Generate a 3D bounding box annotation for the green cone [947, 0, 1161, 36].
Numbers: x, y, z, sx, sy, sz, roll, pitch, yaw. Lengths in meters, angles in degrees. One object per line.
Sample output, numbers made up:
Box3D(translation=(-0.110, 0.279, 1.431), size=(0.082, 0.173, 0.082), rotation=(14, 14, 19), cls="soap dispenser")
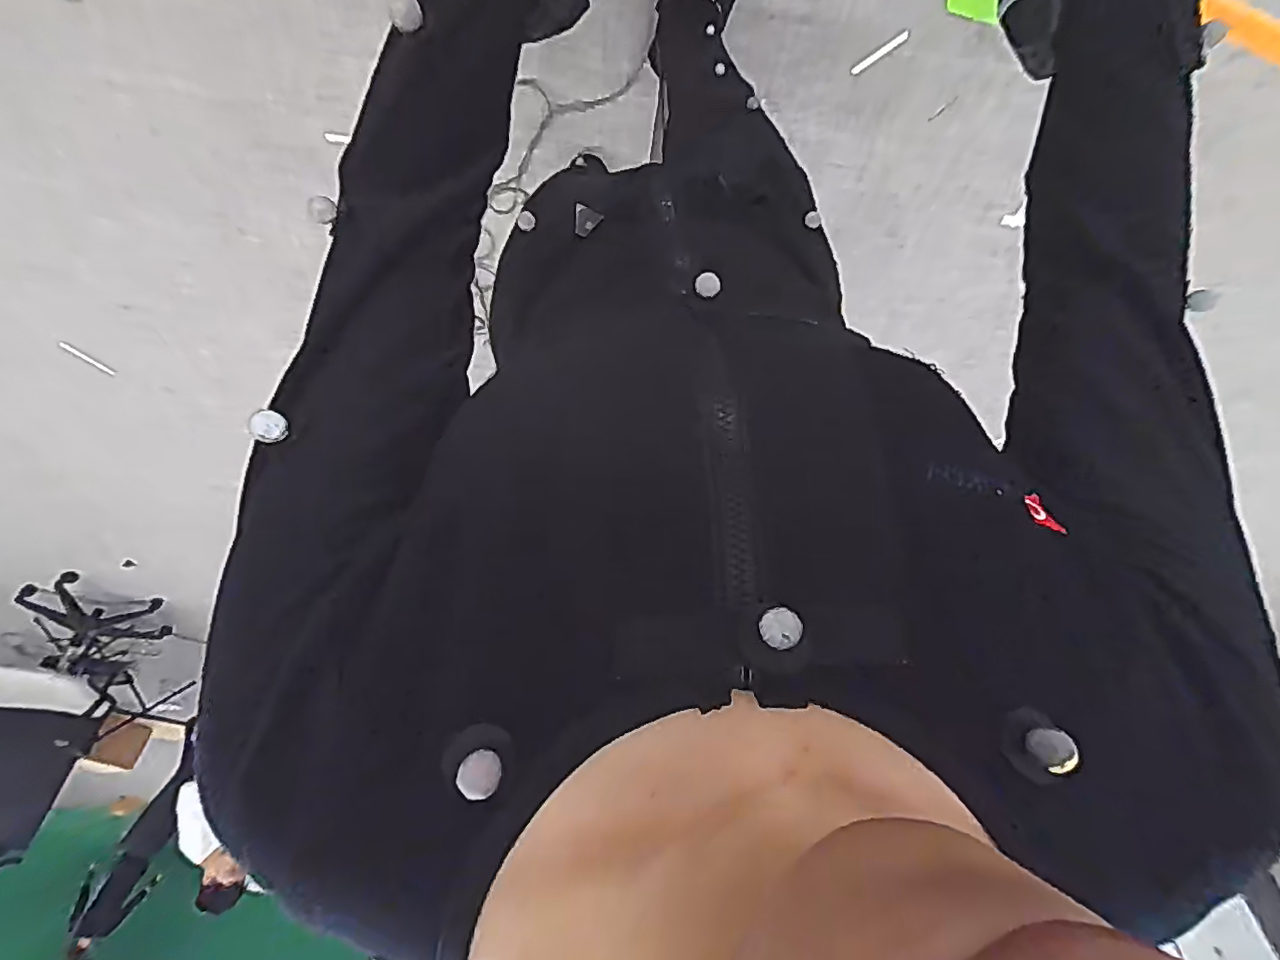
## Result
Box3D(translation=(0.671, -0.781, 0.824), size=(0.202, 0.368, 0.200), rotation=(6, 139, -9), cls="green cone")
